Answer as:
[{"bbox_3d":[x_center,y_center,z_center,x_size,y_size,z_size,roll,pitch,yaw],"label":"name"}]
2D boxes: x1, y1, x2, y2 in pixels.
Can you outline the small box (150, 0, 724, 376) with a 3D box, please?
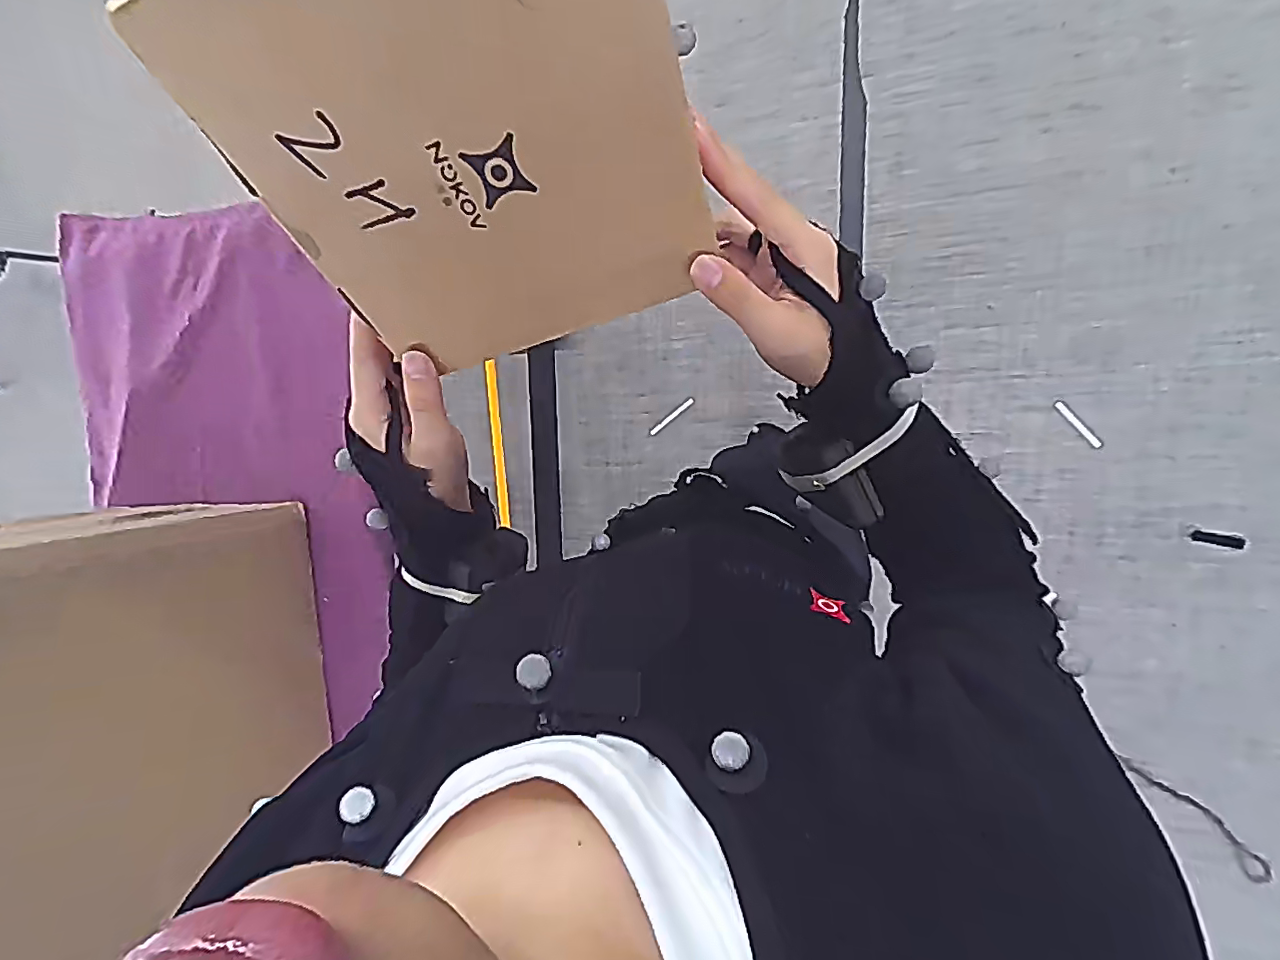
[{"bbox_3d":[-0.069,-0.188,0.276,0.179,0.168,0.176,-15,50,10],"label":"small box"}]
